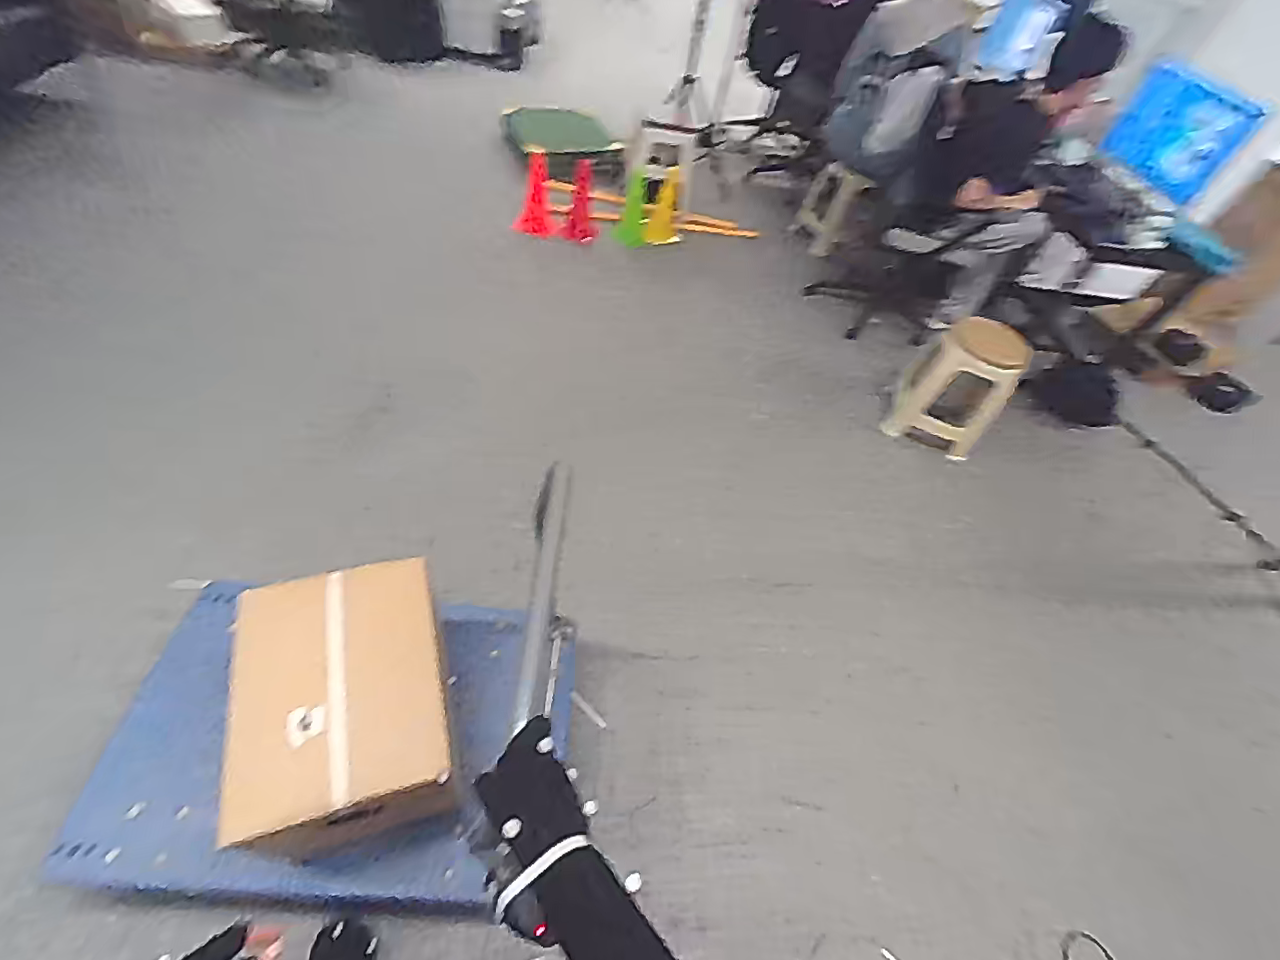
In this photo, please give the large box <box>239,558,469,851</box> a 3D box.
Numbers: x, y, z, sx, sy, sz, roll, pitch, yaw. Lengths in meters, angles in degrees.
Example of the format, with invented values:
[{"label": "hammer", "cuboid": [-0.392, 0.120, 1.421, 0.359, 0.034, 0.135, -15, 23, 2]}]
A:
[{"label": "large box", "cuboid": [-0.520, 0.419, 1.035, 0.320, 0.320, 0.408, -9, 56, -19]}]
